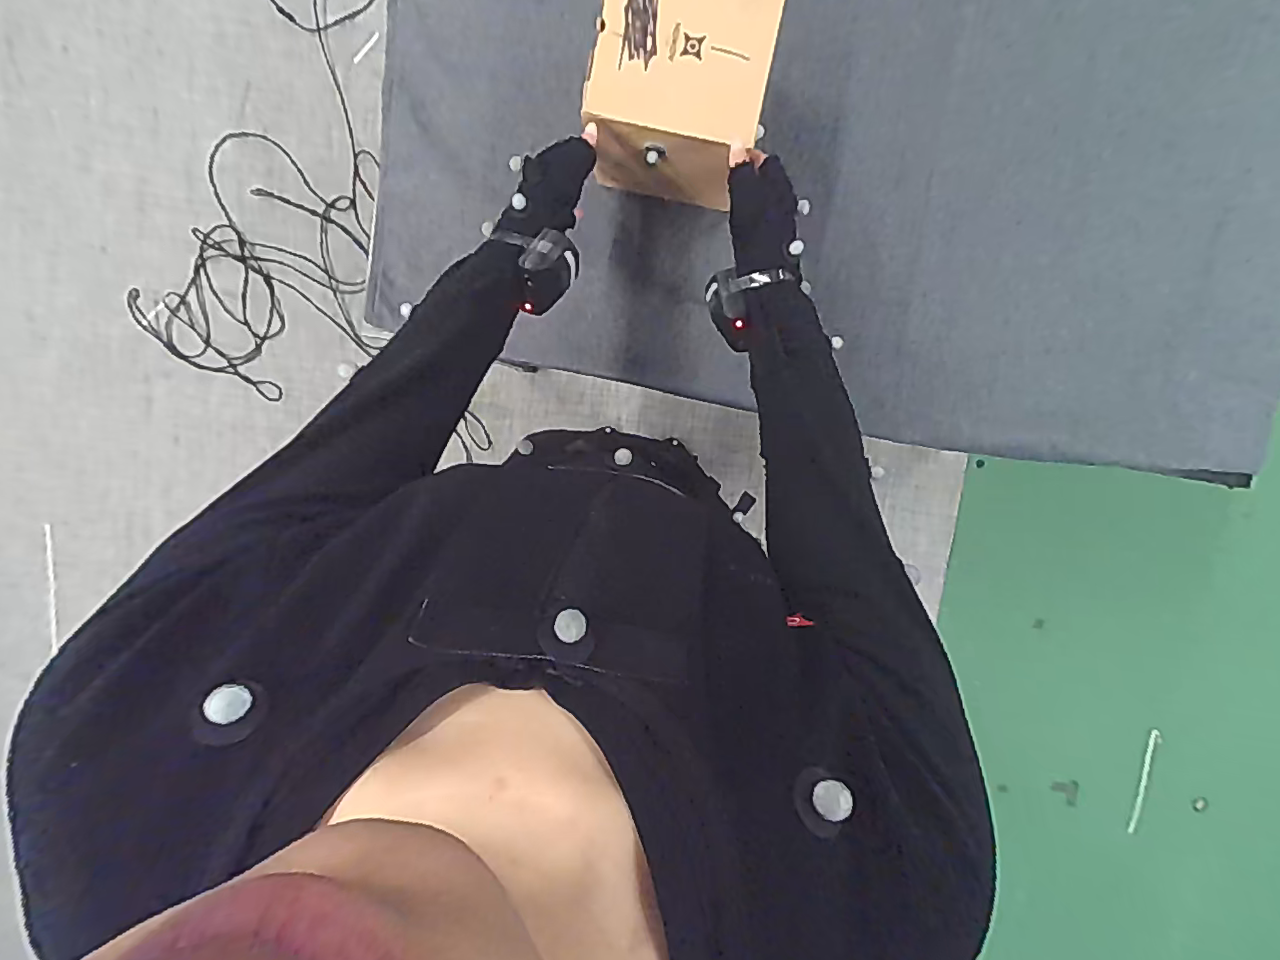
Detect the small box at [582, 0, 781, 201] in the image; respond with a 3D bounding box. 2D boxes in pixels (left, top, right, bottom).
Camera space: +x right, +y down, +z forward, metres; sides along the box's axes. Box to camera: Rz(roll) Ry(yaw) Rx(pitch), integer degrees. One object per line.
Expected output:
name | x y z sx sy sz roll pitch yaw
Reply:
small box | 0.043 -0.442 0.611 0.179 0.176 0.168 11 97 -1
